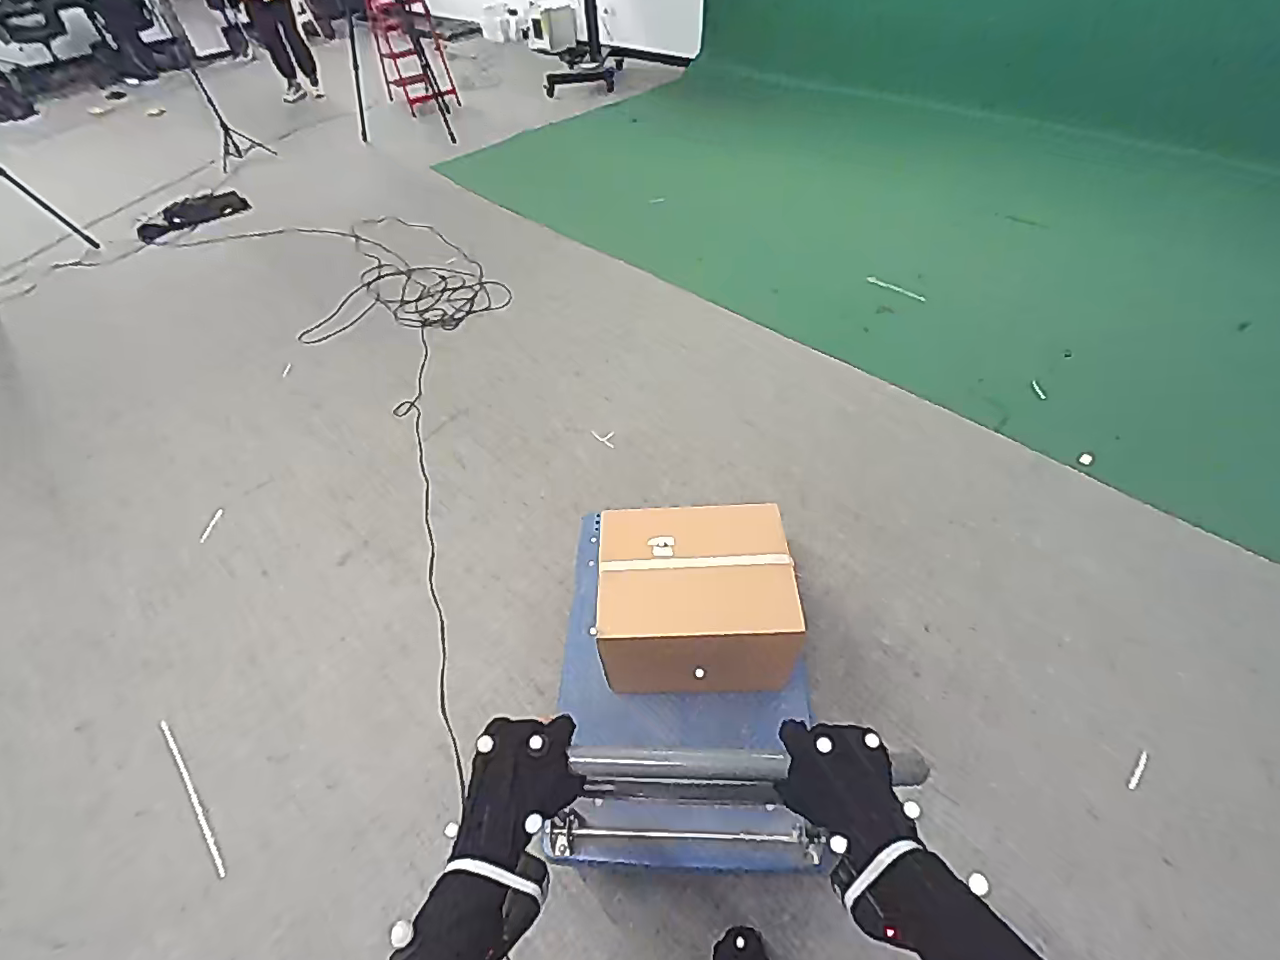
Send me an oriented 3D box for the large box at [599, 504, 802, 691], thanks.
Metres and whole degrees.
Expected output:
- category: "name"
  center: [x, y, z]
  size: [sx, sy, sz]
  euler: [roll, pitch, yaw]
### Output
- category: "large box"
  center: [0.126, 0.281, 1.262]
  size: [0.408, 0.320, 0.320]
  euler: [-4, 49, 3]
